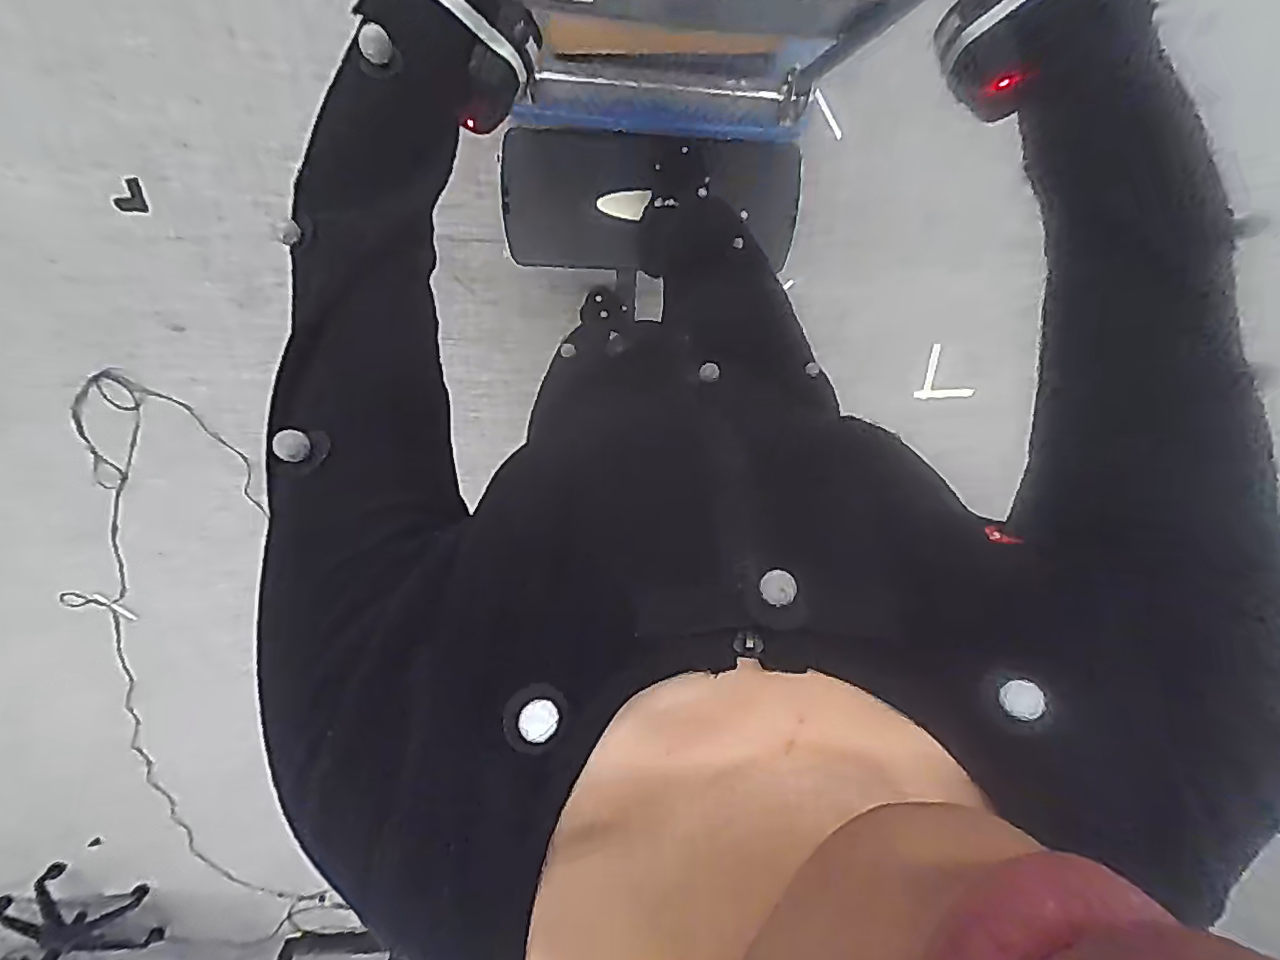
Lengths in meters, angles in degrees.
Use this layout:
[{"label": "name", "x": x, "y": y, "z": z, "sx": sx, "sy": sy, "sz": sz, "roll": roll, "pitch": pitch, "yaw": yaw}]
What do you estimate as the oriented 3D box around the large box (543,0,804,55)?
[{"label": "large box", "x": 0.045, "y": -0.856, "z": 0.772, "sx": 0.408, "sy": 0.320, "sz": 0.320, "roll": -4, "pitch": 110, "yaw": -4}]
